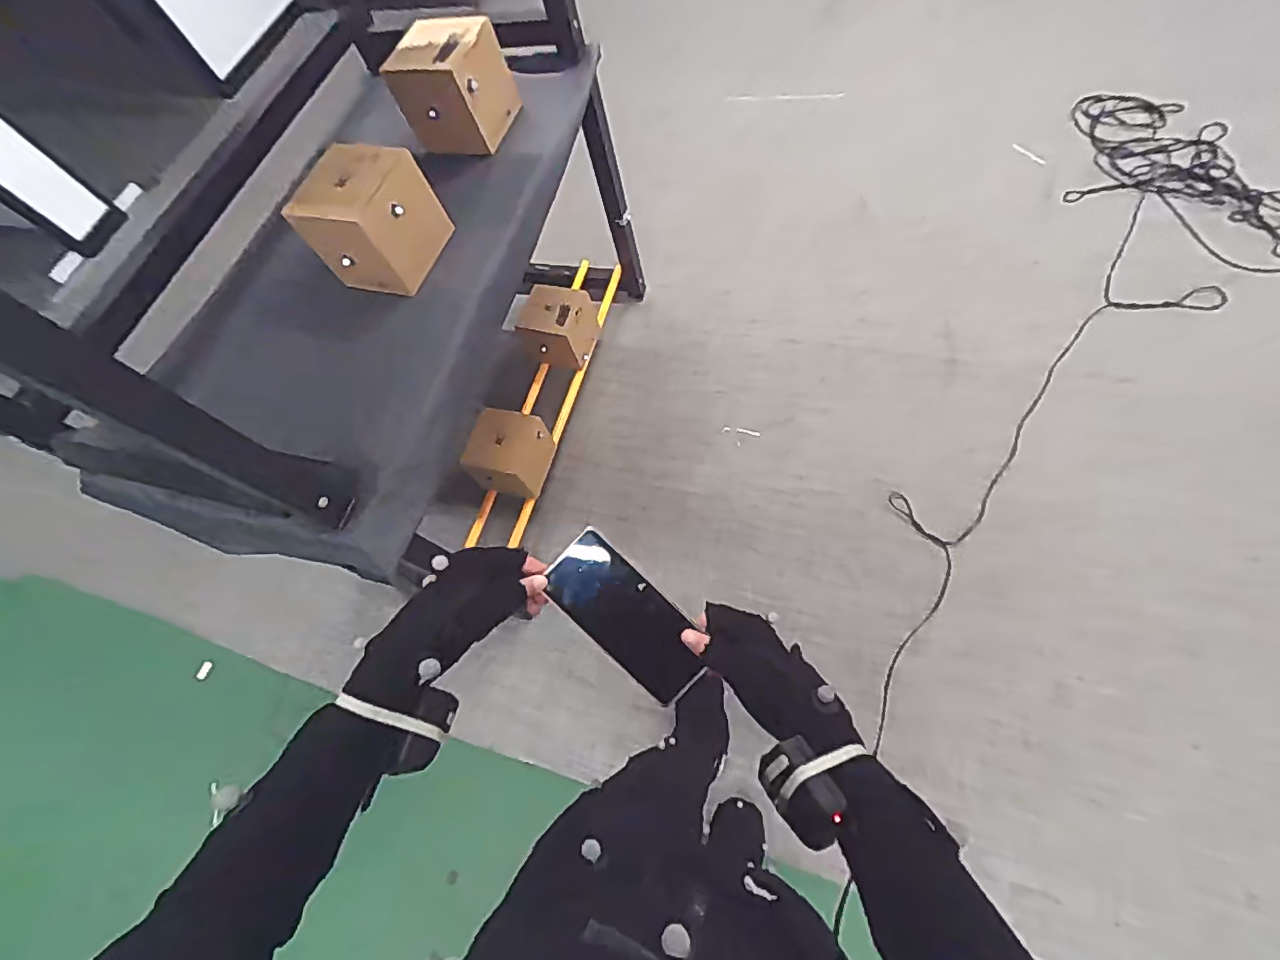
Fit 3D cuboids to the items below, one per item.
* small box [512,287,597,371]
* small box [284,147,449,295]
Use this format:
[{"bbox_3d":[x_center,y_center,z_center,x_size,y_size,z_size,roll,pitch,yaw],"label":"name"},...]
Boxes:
[{"bbox_3d":[-0.247,-0.448,1.620,0.179,0.176,0.168,14,68,16],"label":"small box"},{"bbox_3d":[-0.476,-0.460,0.972,0.168,0.176,0.179,14,69,16],"label":"small box"}]
